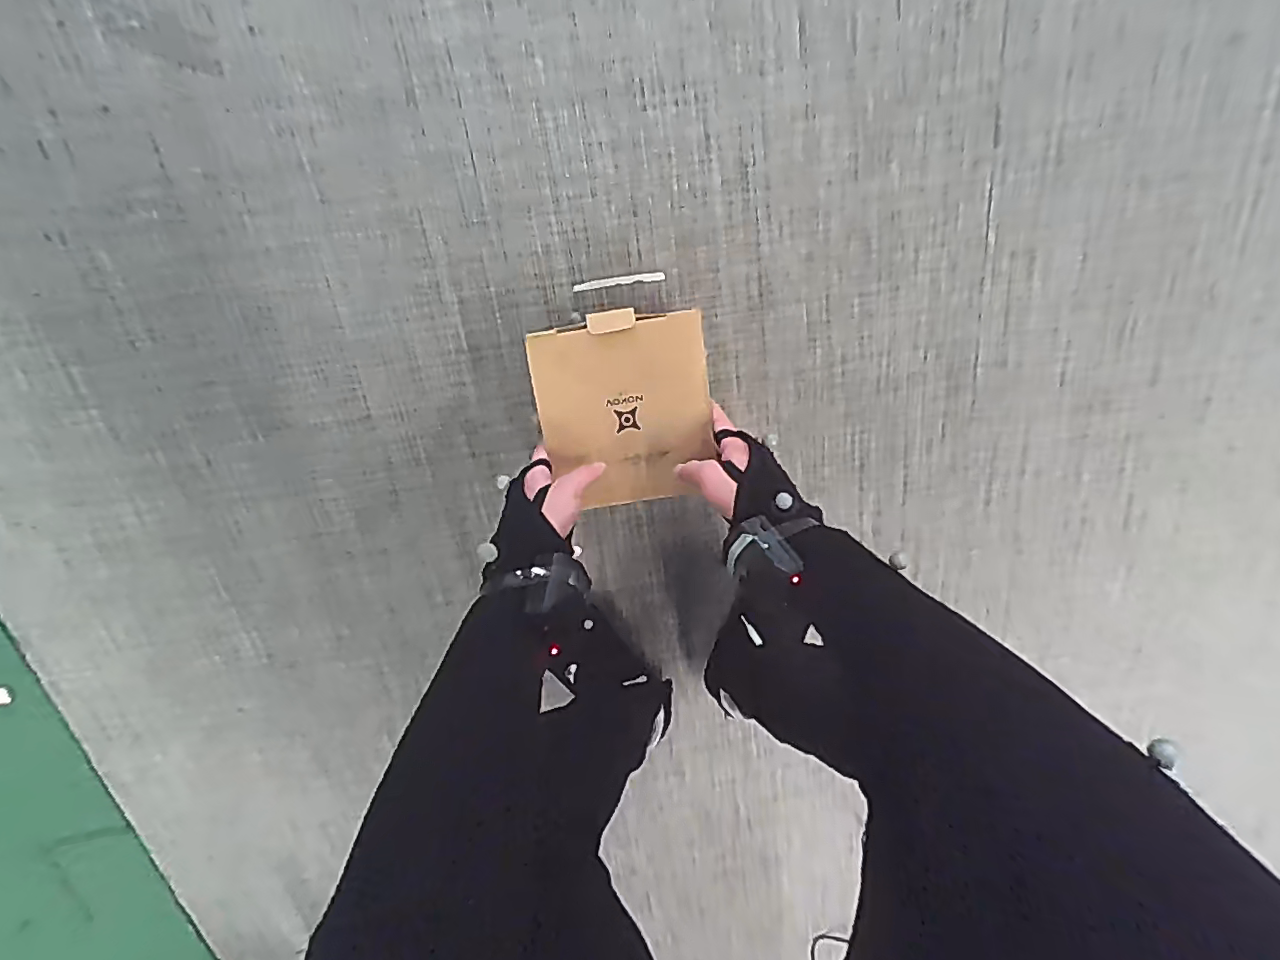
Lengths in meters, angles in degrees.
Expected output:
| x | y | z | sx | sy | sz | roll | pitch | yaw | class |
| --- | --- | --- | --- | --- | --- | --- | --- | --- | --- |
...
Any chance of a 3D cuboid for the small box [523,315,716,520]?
| x | y | z | sx | sy | sz | roll | pitch | yaw | class |
| --- | --- | --- | --- | --- | --- | --- | --- | --- | --- |
| -0.019 | -0.072 | 0.575 | 0.168 | 0.176 | 0.179 | -7 | 105 | 0 | small box |
